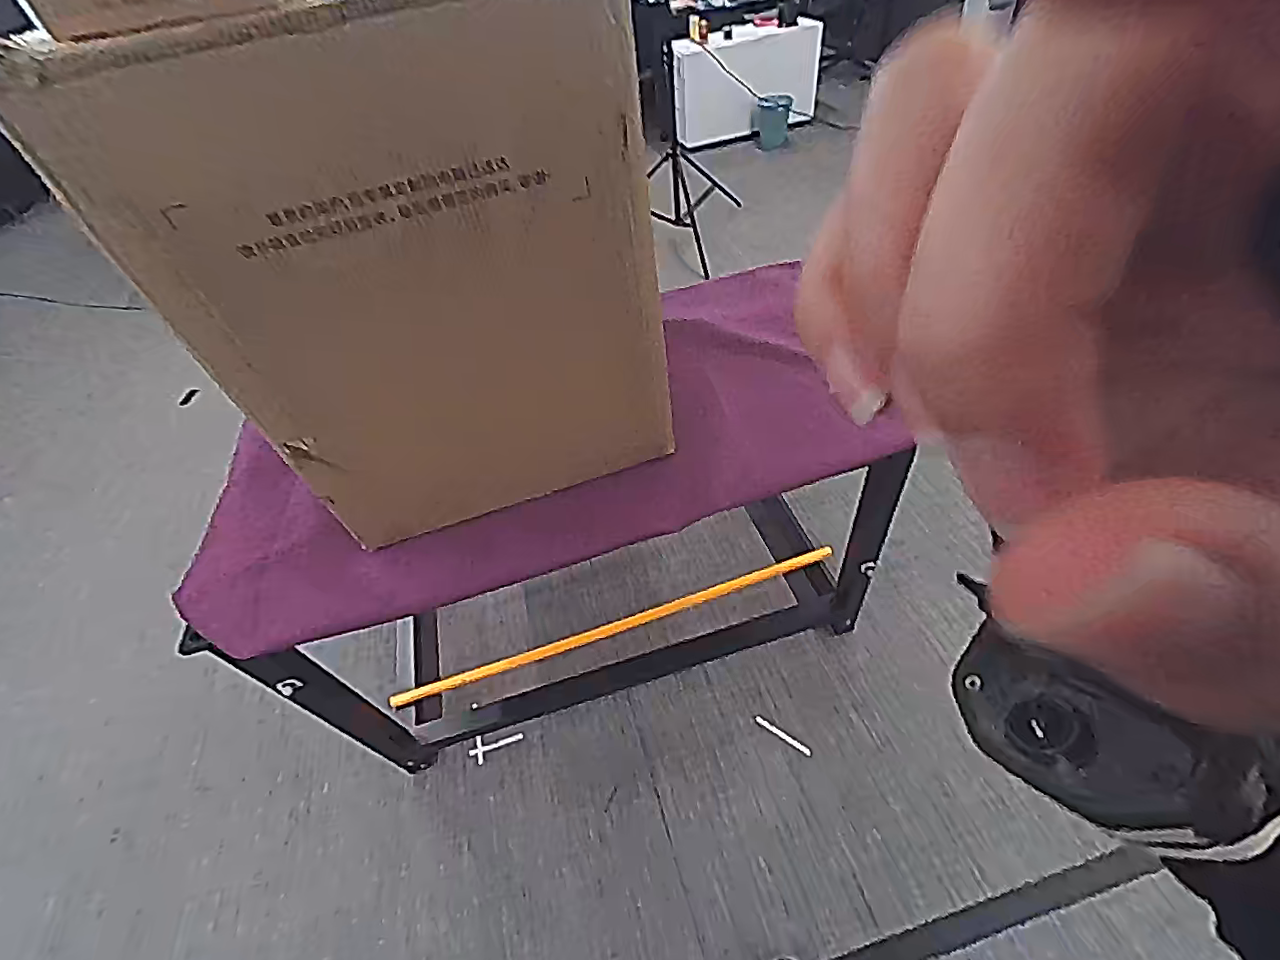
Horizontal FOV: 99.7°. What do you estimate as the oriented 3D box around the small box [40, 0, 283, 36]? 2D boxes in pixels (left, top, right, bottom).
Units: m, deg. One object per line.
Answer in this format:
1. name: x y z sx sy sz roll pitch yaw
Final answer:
1. small box: -0.395 -0.463 0.413 0.168 0.176 0.179 -17 48 -9
